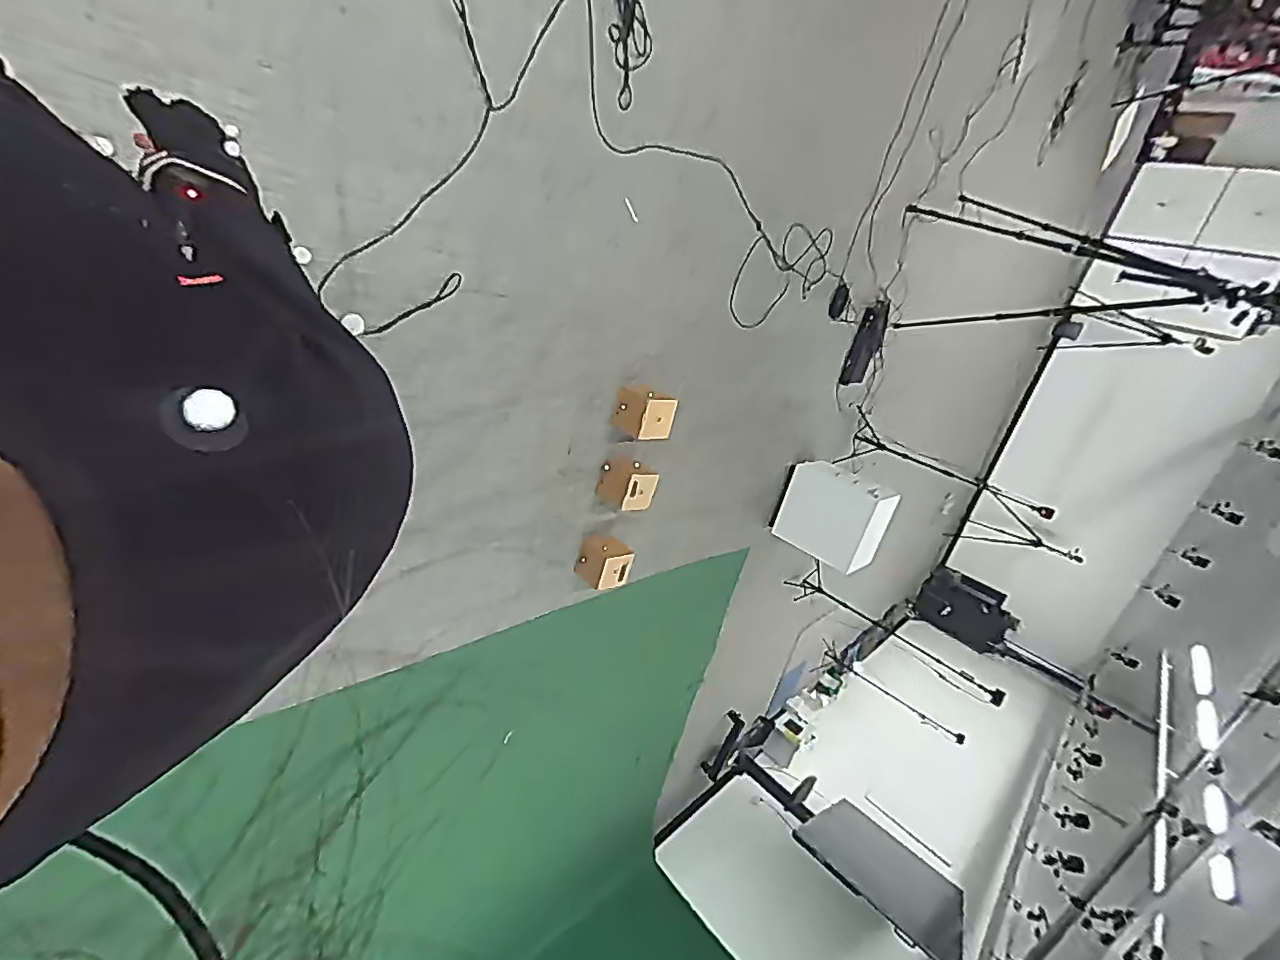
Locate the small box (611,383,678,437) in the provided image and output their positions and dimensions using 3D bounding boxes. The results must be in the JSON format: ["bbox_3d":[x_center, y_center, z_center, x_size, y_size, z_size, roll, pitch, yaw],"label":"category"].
[{"bbox_3d":[0.016,-0.282,2.154,0.179,0.176,0.168,-8,121,-45],"label":"small box"}]

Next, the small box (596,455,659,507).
[{"bbox_3d":[-0.056,0.001,2.272,0.179,0.176,0.168,-1,116,-49],"label":"small box"}]
